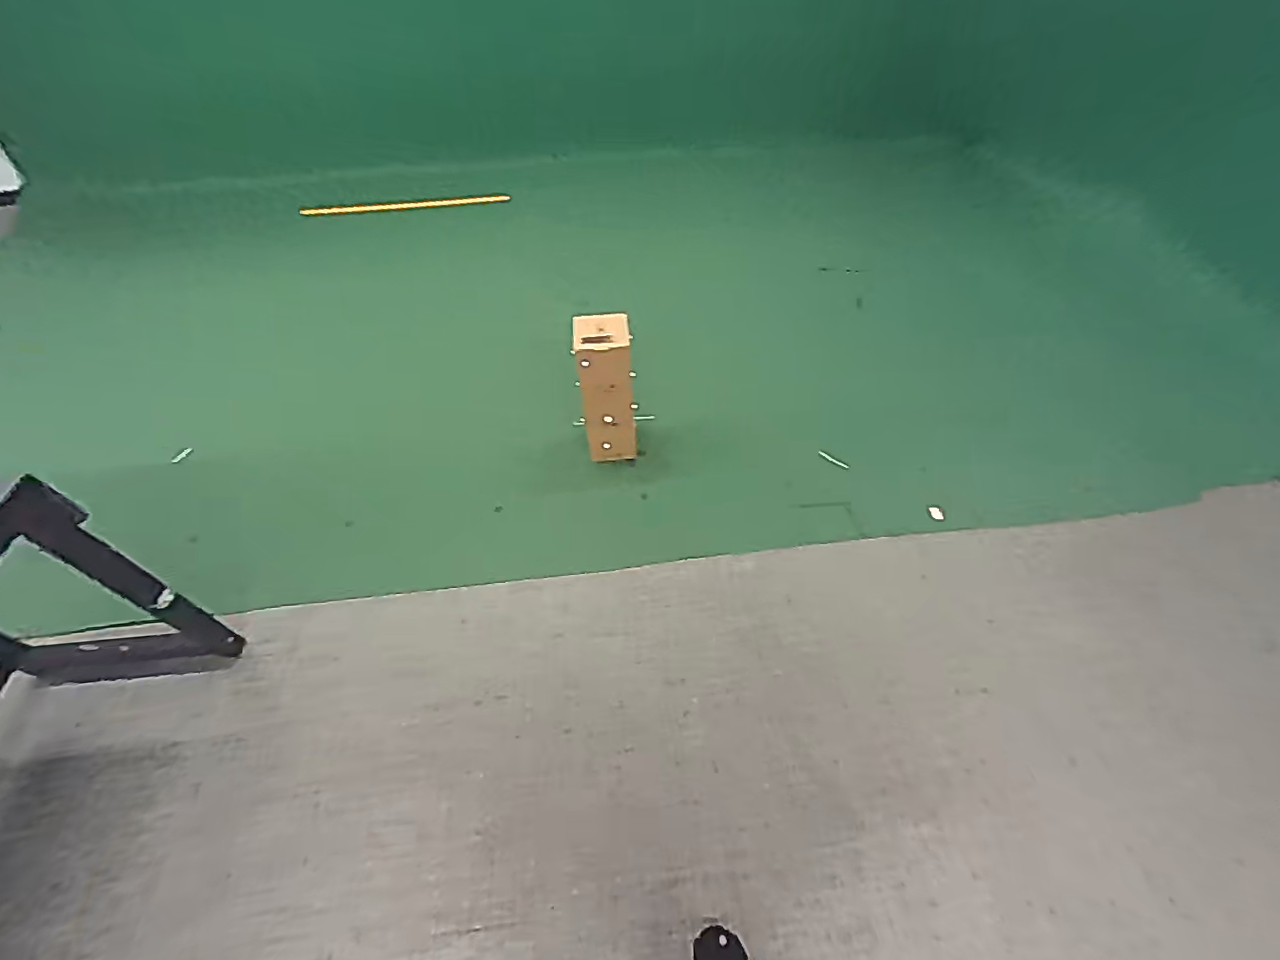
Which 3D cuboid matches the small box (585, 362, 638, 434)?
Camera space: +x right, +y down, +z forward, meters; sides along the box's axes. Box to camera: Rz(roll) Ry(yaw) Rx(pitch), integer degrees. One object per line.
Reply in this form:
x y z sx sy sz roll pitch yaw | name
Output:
-0.095 -0.277 1.834 0.168 0.176 0.179 -5 50 0 | small box

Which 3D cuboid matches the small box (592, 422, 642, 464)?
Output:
-0.084 -0.171 1.961 0.168 0.176 0.179 -7 50 -2 | small box
